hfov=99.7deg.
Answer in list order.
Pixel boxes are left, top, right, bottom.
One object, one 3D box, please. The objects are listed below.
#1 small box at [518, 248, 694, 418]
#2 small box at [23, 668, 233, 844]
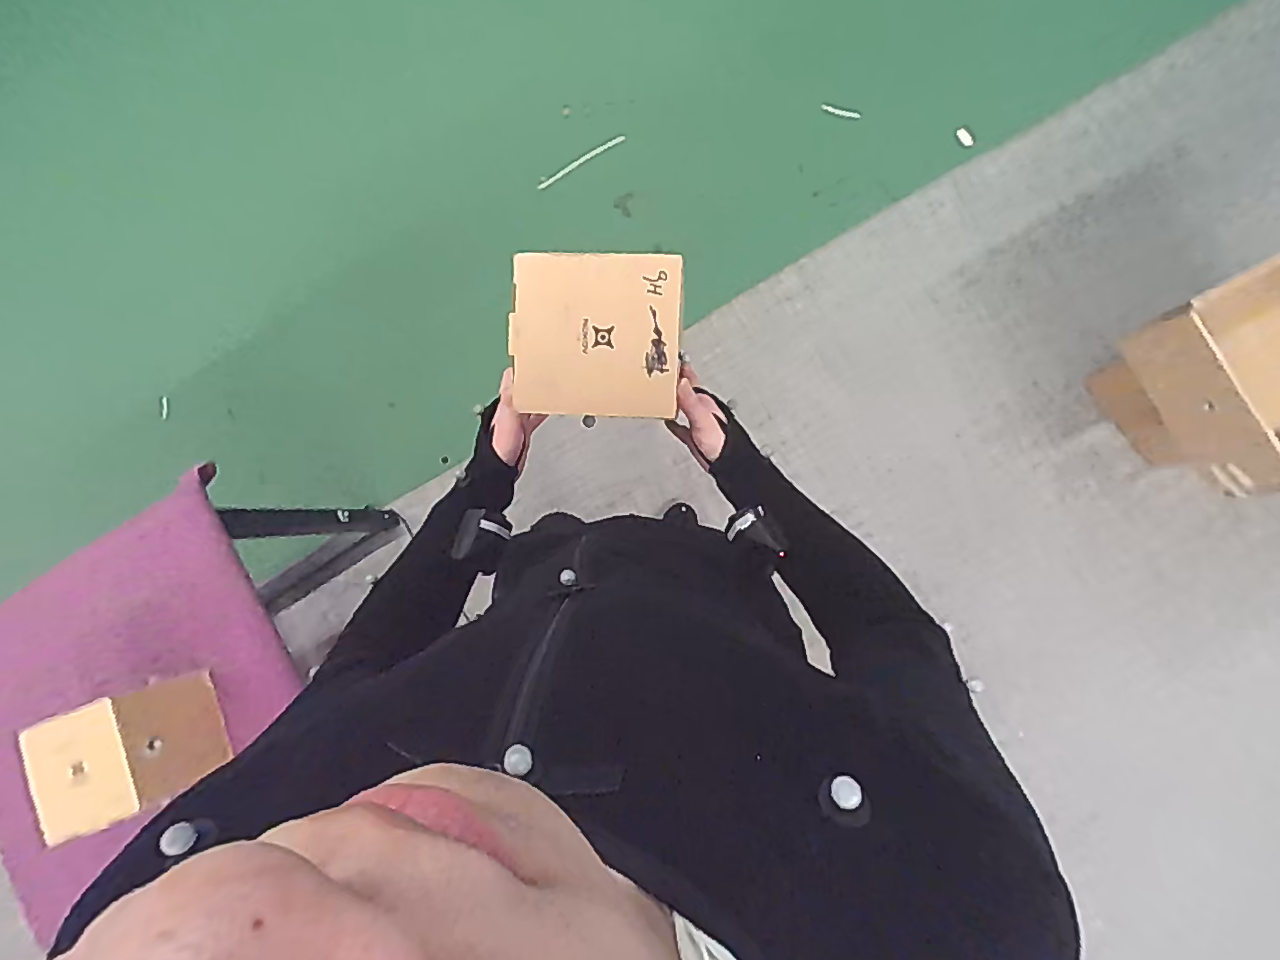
[{"bbox_3d":[-0.030,-0.160,0.634,0.179,0.176,0.168,4,97,5],"label":"small box"},{"bbox_3d":[-0.817,0.437,0.882,0.168,0.176,0.179,-21,85,4],"label":"small box"}]
